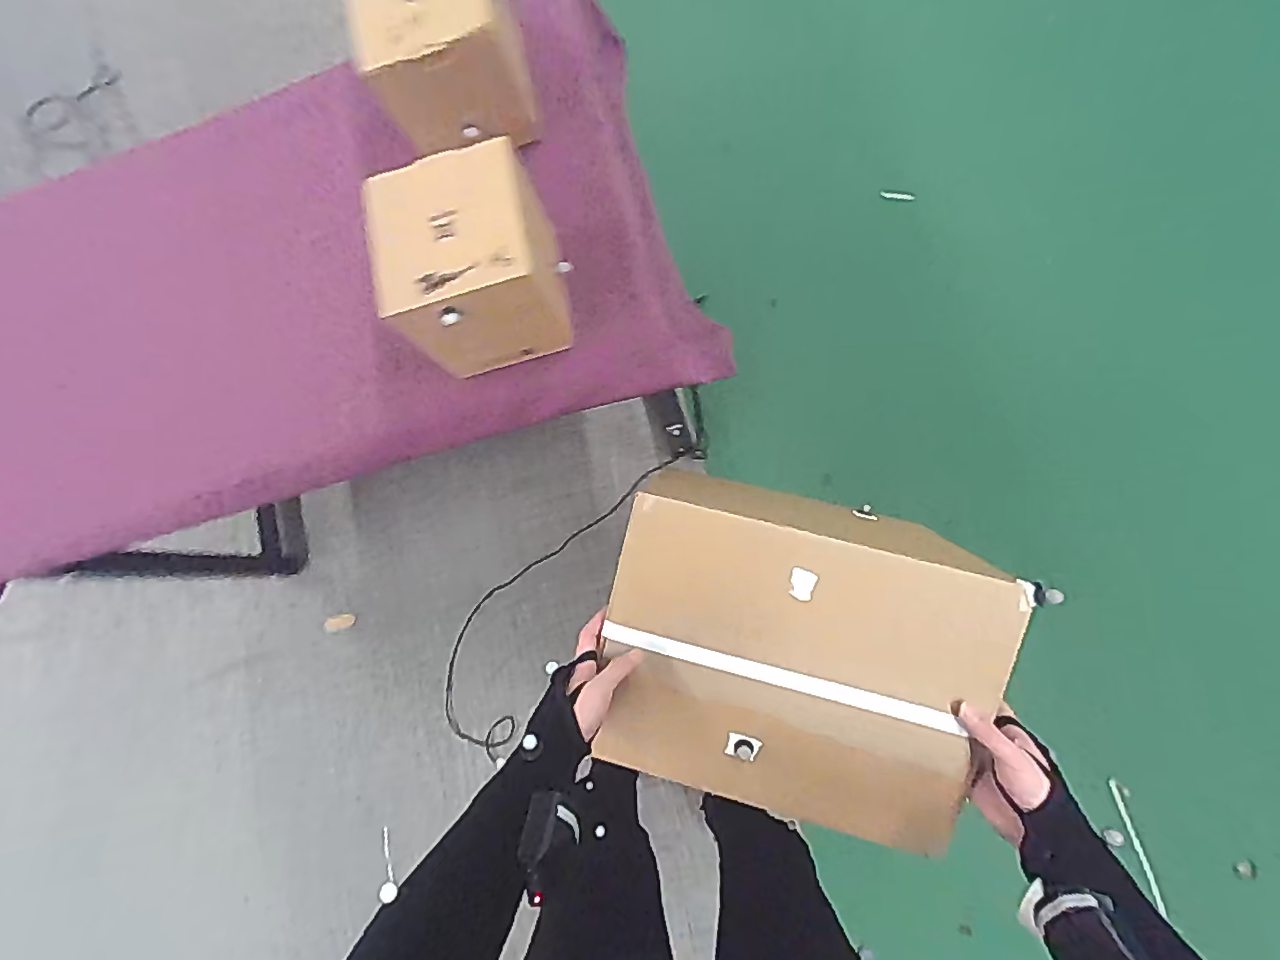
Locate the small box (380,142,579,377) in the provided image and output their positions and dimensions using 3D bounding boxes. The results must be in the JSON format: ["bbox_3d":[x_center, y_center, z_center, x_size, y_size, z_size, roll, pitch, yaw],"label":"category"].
[{"bbox_3d":[-0.184,-0.251,0.652,0.168,0.176,0.179,-14,75,7],"label":"small box"}]

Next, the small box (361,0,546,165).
[{"bbox_3d":[-0.239,-0.554,0.716,0.168,0.176,0.179,-14,79,8],"label":"small box"}]
